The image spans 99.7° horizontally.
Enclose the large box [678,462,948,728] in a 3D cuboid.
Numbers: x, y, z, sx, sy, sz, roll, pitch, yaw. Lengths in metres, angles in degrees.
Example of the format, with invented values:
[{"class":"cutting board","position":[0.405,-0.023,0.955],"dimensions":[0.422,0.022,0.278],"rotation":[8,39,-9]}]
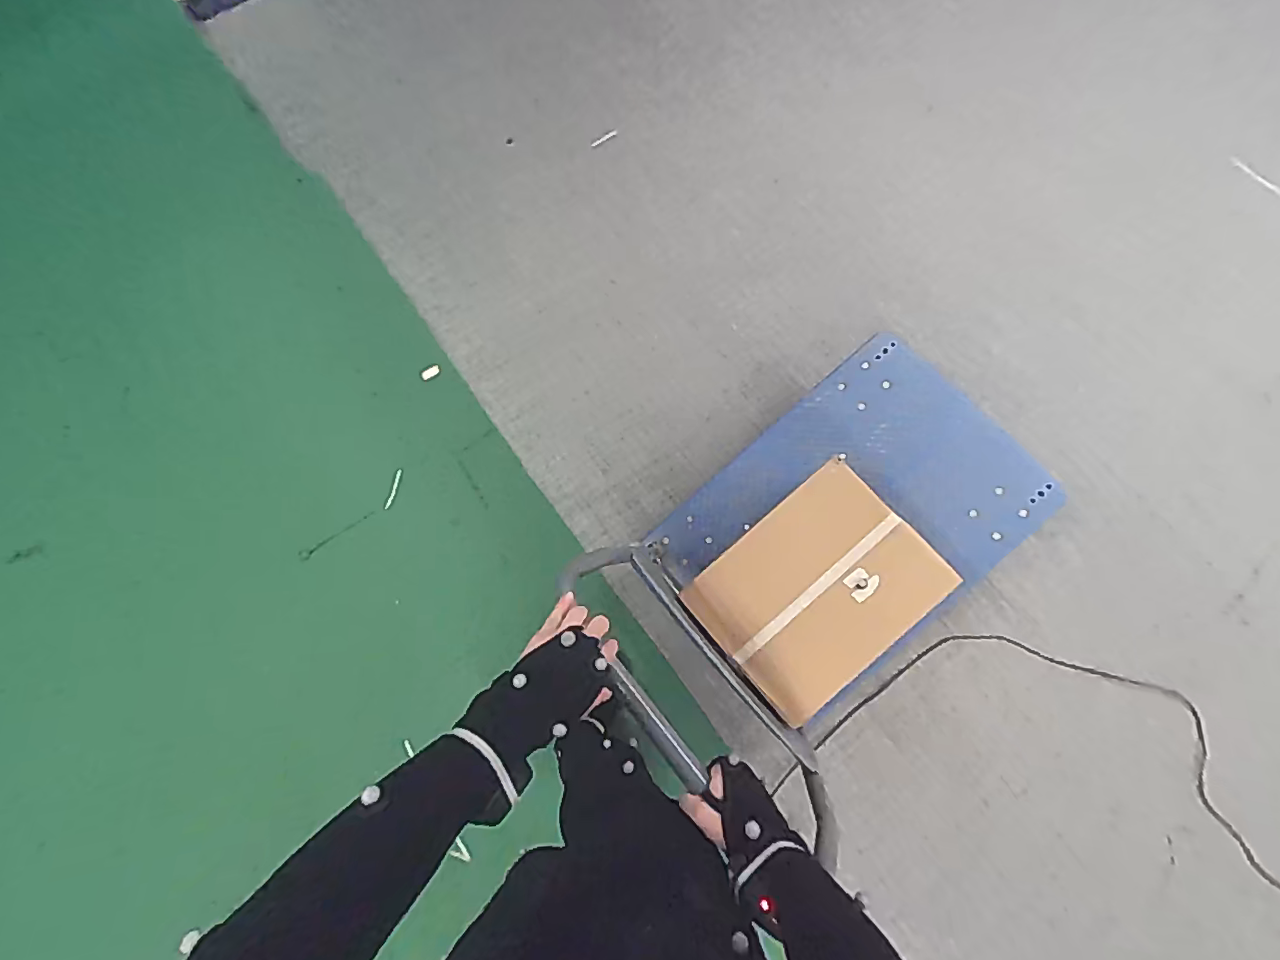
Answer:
[{"class":"large box","position":[0.331,0.234,1.144],"dimensions":[0.408,0.320,0.320],"rotation":[-41,78,-2]}]
